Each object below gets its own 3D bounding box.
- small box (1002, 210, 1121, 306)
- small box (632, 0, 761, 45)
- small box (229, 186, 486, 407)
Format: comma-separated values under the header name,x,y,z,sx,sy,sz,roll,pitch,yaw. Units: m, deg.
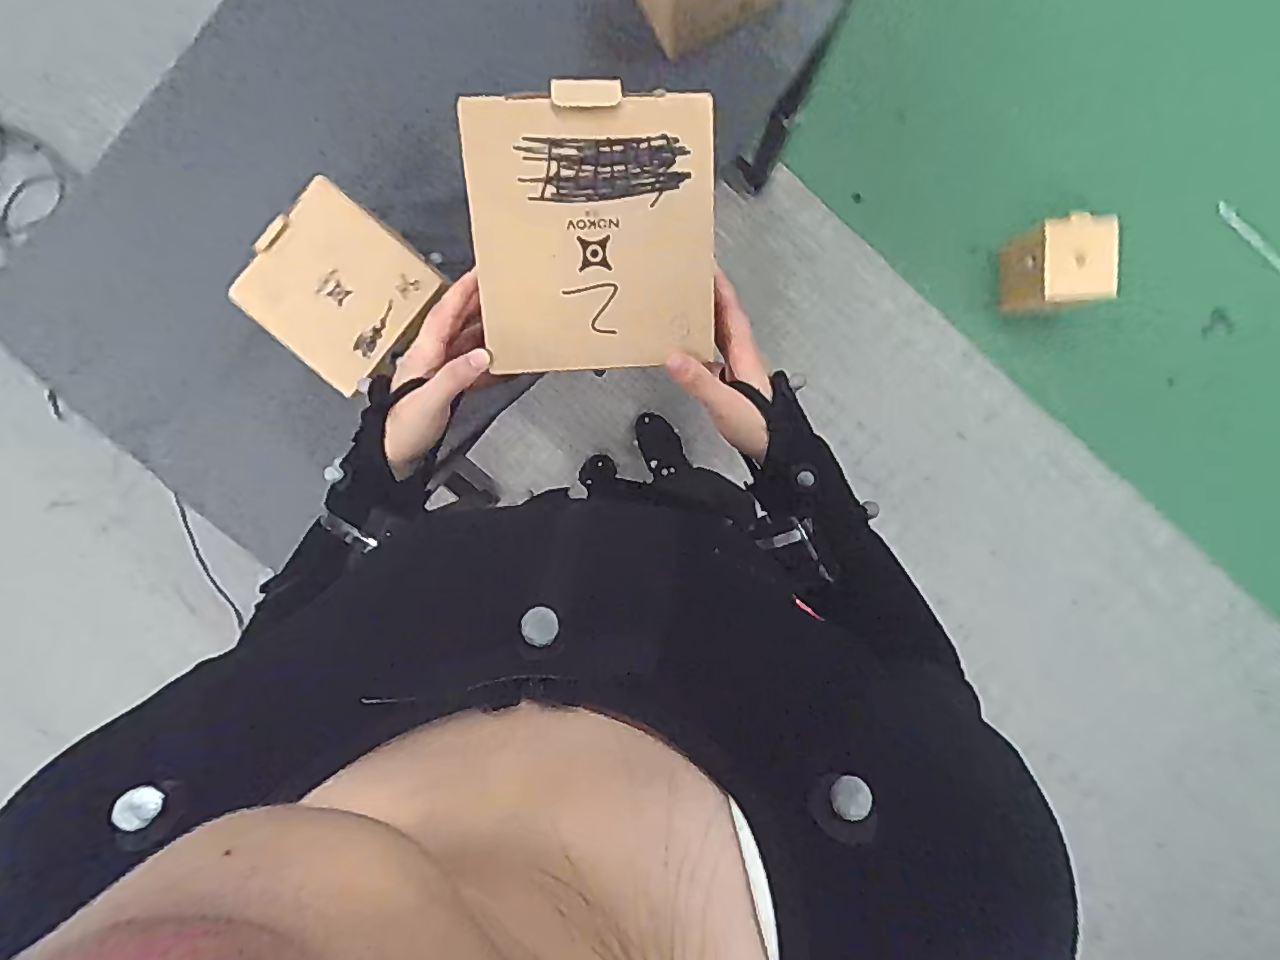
name,x,y,z,sx,sy,sz,roll,pitch,yaw
small box,1.015,-0.530,1.315,0.168,0.176,0.179,-3,95,2
small box,0.058,-0.637,0.596,0.168,0.176,0.179,-29,92,4
small box,-0.323,-0.201,0.655,0.179,0.176,0.168,40,95,-1
